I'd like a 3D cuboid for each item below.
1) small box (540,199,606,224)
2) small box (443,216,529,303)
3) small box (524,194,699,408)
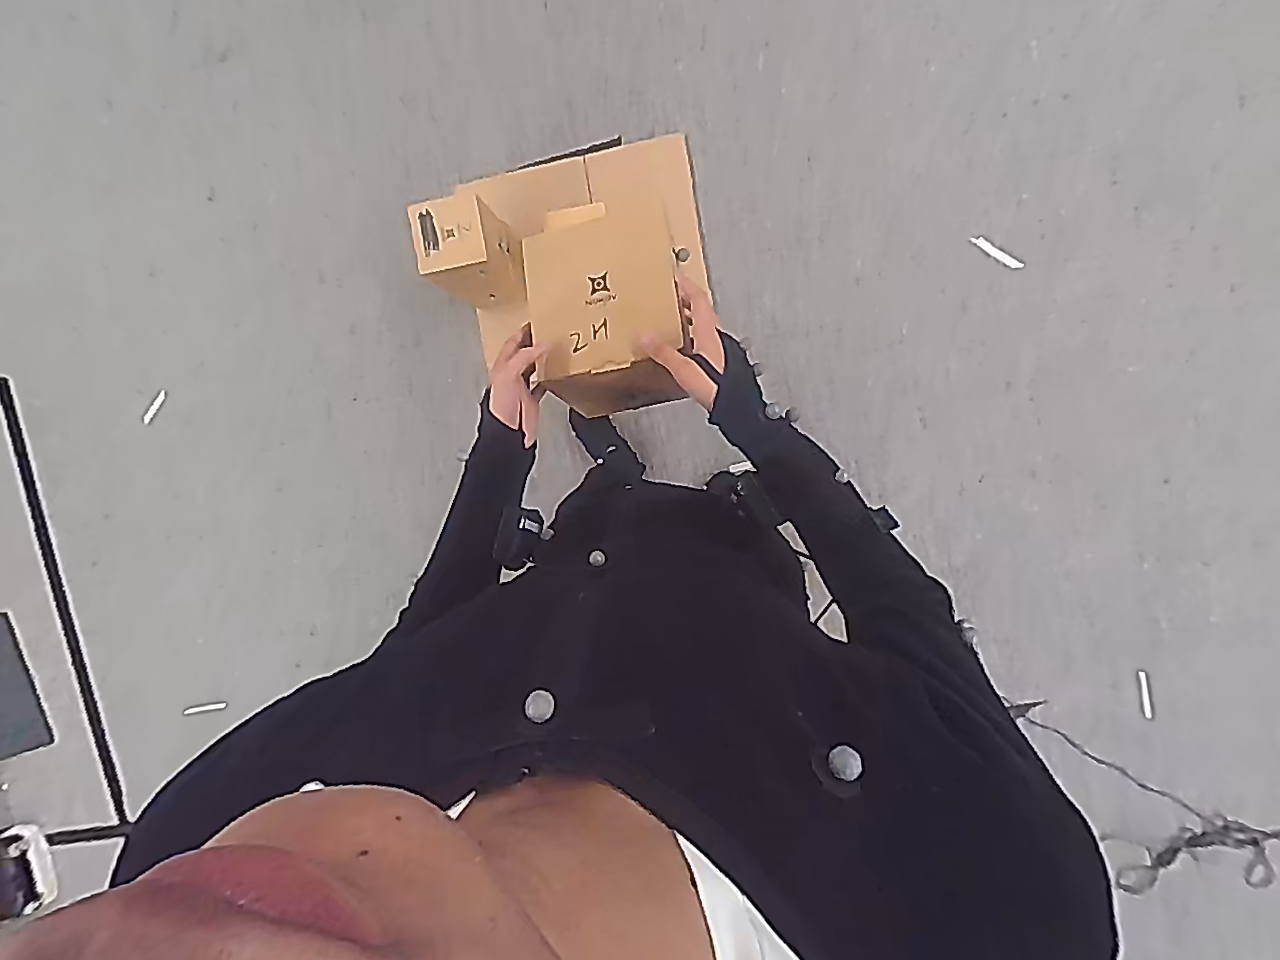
[{"bbox_3d":[-0.161,-0.650,1.500,0.179,0.176,0.168,-8,95,6],"label":"small box"},{"bbox_3d":[-0.424,-0.614,1.523,0.179,0.176,0.168,-10,94,7],"label":"small box"},{"bbox_3d":[-0.026,-0.203,0.662,0.168,0.176,0.179,-10,82,12],"label":"small box"}]
